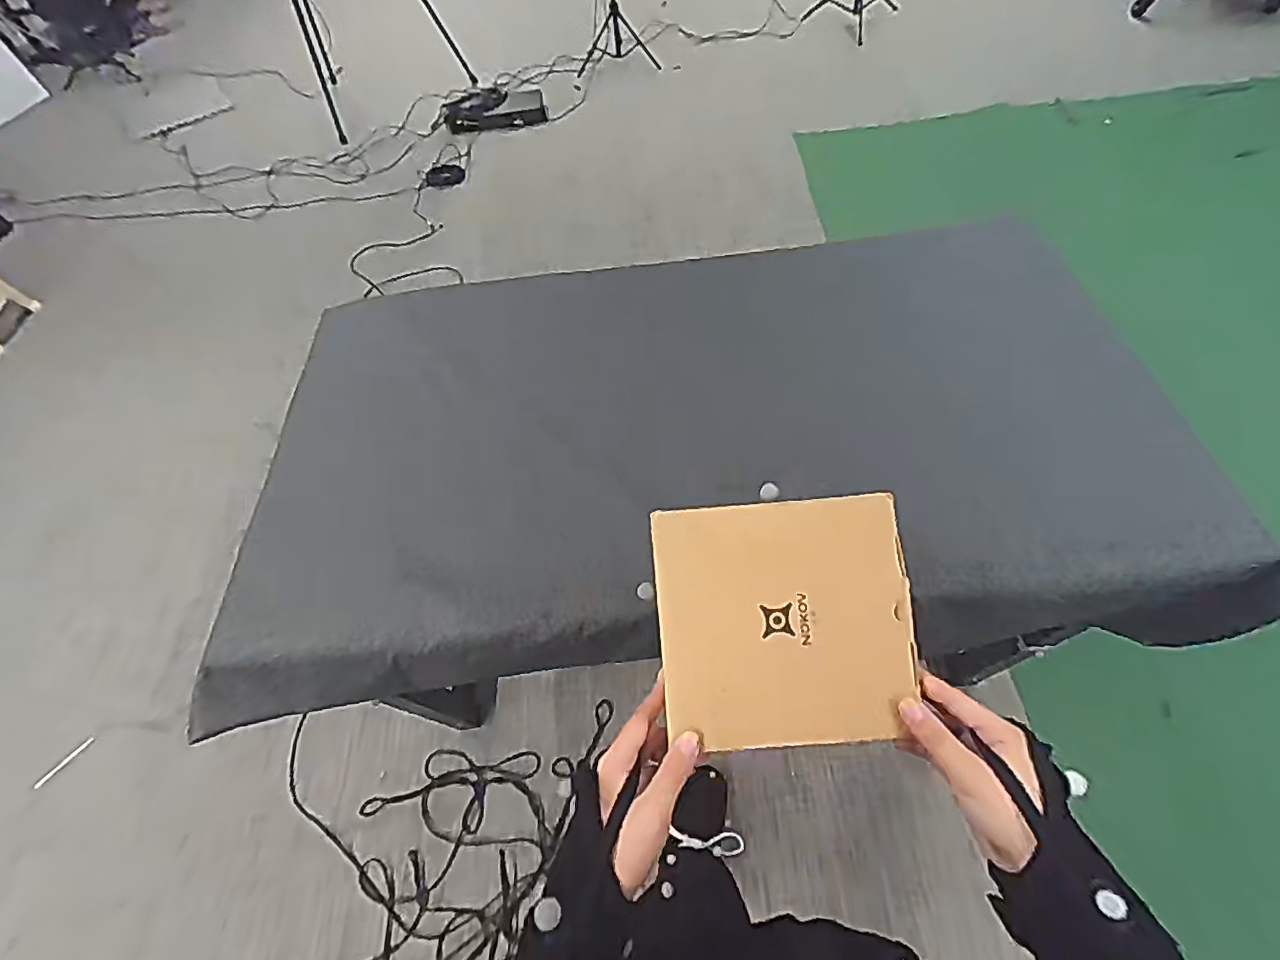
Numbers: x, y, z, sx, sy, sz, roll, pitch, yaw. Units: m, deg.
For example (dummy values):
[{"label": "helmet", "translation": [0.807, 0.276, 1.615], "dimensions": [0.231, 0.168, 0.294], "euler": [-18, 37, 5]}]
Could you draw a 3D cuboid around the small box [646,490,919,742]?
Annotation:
[{"label": "small box", "translation": [0.099, 0.105, 0.456], "dimensions": [0.179, 0.176, 0.168], "euler": [-5, 81, 0]}]
